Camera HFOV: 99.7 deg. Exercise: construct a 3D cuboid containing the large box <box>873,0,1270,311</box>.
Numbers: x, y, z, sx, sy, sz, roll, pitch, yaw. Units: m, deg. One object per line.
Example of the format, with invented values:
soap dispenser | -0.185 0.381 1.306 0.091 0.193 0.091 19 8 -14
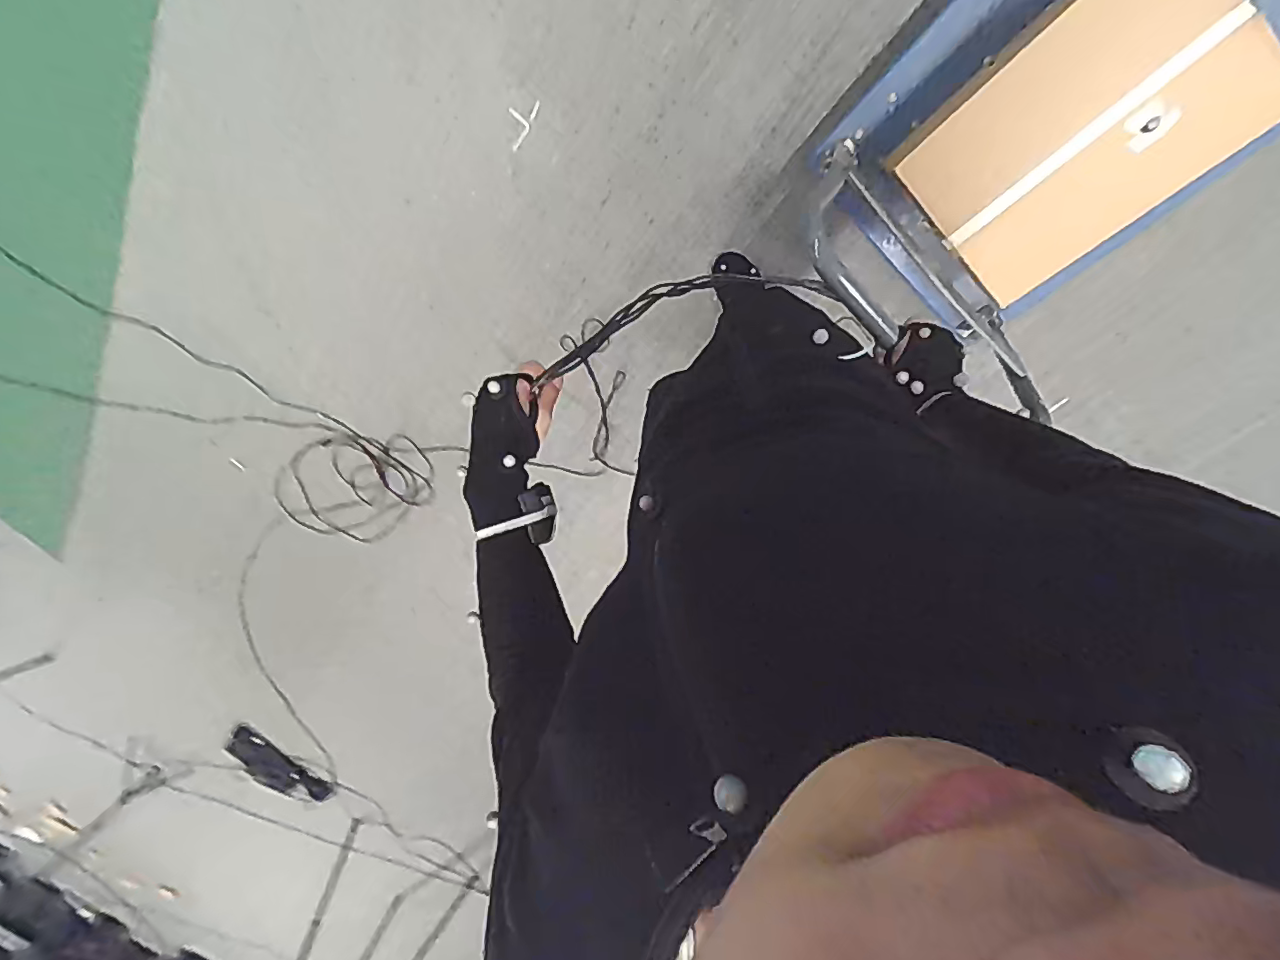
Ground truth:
large box | 0.685 -0.578 0.954 0.320 0.320 0.408 45 123 -10
